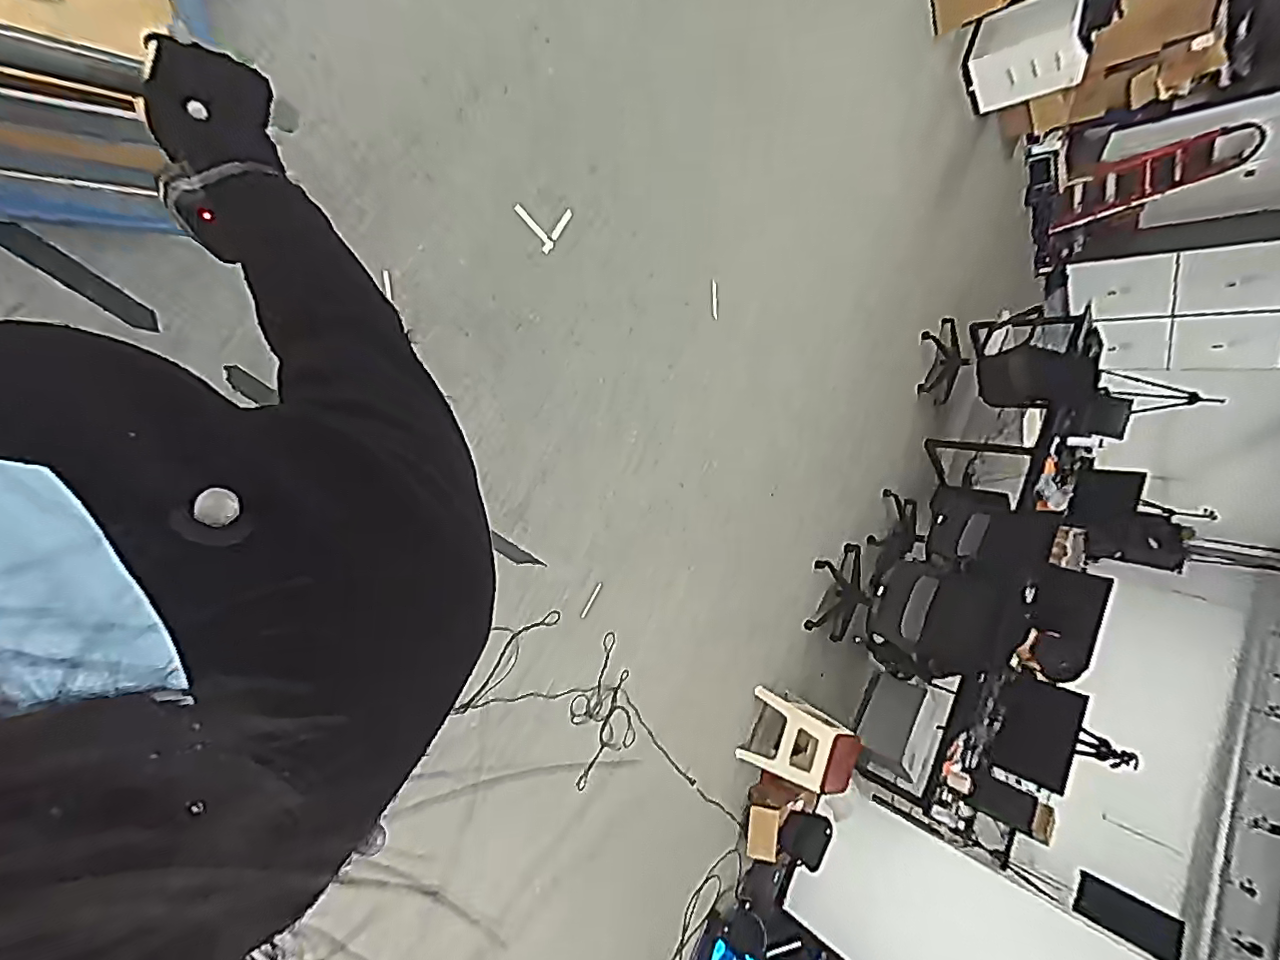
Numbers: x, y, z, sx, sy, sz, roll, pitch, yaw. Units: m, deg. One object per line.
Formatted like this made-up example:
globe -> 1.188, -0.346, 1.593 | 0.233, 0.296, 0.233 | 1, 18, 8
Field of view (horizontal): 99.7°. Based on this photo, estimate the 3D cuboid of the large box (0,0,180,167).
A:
large box -> -0.890, -0.644, 0.687 | 0.408, 0.320, 0.320 | -13, 108, -43
